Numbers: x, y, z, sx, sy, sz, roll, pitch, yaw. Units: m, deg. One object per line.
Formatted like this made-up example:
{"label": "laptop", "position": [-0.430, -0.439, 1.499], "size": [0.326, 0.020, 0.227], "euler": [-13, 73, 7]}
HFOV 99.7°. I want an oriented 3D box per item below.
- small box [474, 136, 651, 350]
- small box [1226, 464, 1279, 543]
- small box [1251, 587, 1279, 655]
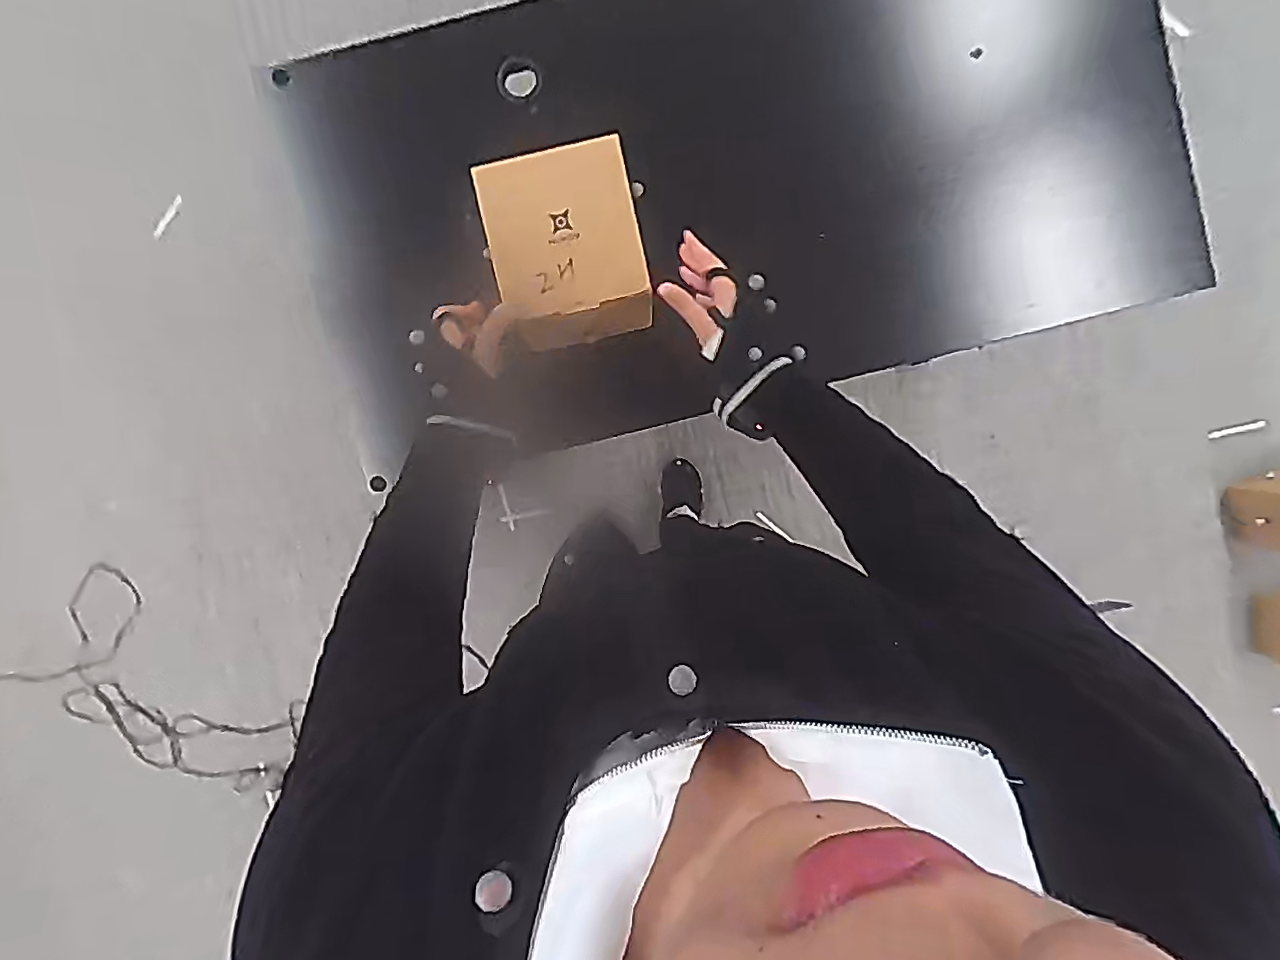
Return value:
{"label": "small box", "position": [-0.085, -0.277, 0.671], "size": [0.168, 0.176, 0.179], "euler": [-13, 93, 2]}
{"label": "small box", "position": [1.694, 0.062, 1.402], "size": [0.179, 0.176, 0.168], "euler": [-20, 93, 2]}
{"label": "small box", "position": [1.779, 0.380, 1.421], "size": [0.168, 0.176, 0.179], "euler": [-11, 95, 2]}
